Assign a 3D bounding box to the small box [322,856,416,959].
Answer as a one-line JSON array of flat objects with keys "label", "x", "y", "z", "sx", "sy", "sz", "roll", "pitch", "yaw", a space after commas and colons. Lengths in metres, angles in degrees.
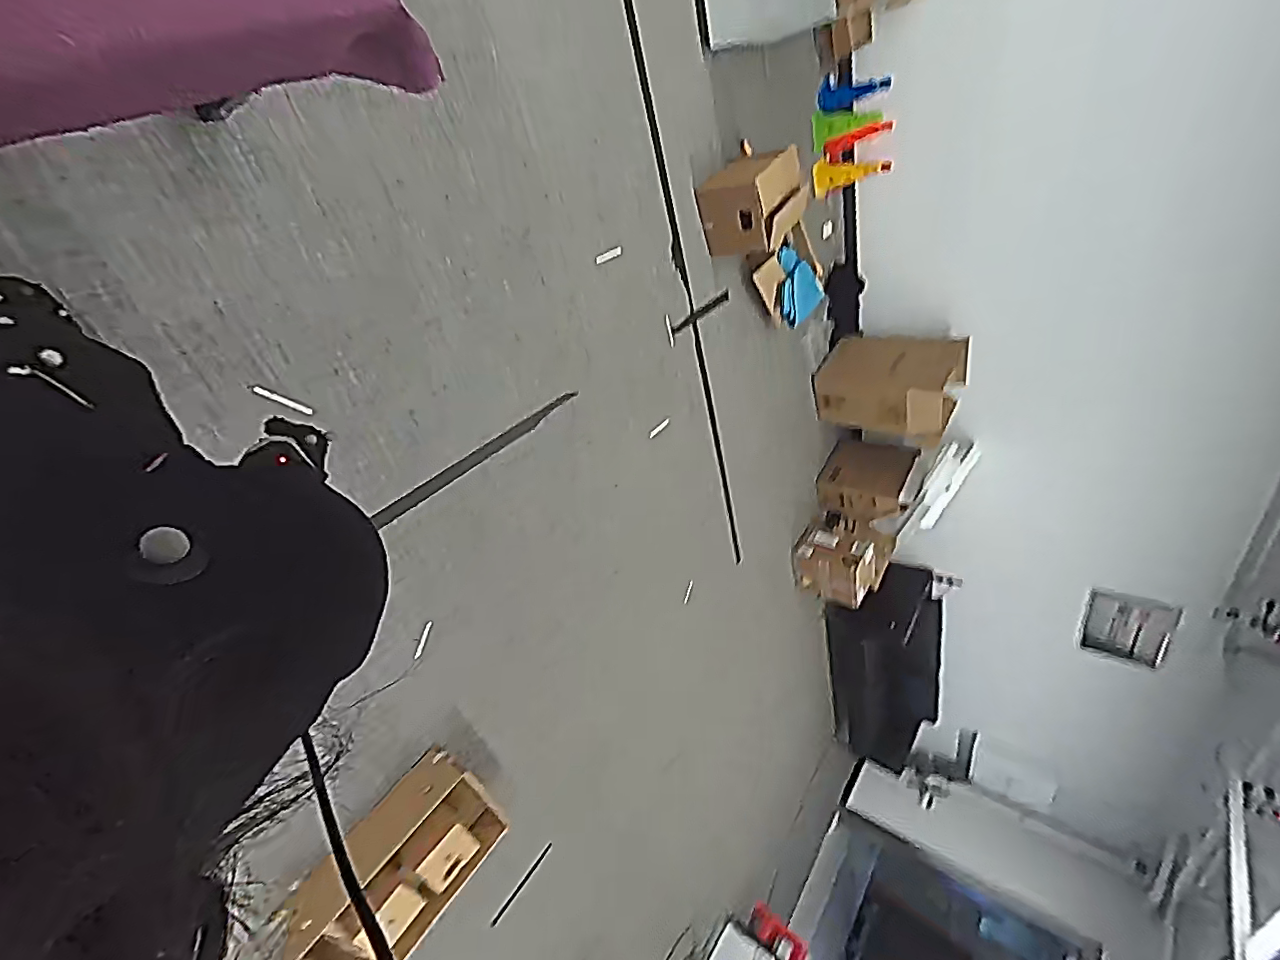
[{"label": "small box", "x": -0.836, "y": 1.312, "z": 1.654, "sx": 0.179, "sy": 0.176, "sz": 0.168, "roll": -46, "pitch": 133, "yaw": -36}]
